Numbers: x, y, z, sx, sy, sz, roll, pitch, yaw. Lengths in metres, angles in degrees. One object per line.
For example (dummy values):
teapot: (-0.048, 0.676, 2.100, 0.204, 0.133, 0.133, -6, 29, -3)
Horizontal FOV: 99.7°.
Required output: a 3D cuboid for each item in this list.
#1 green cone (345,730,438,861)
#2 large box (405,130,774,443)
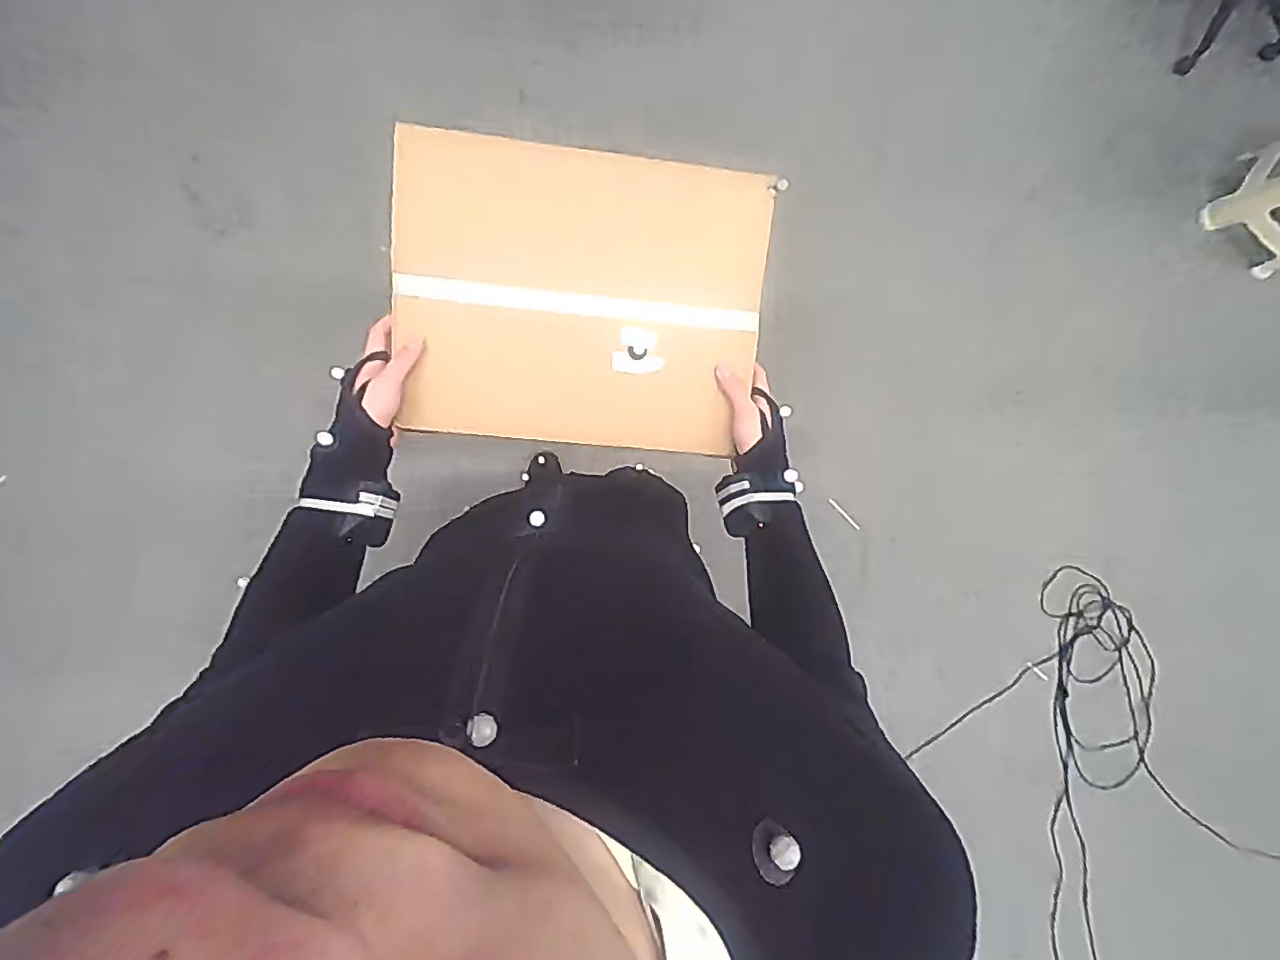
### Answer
green cone: (-0.673, 0.832, 1.398, 0.200, 0.368, 0.202, 6, 91, -8)
large box: (-0.073, -0.233, 0.753, 0.408, 0.320, 0.320, 4, 102, -7)
